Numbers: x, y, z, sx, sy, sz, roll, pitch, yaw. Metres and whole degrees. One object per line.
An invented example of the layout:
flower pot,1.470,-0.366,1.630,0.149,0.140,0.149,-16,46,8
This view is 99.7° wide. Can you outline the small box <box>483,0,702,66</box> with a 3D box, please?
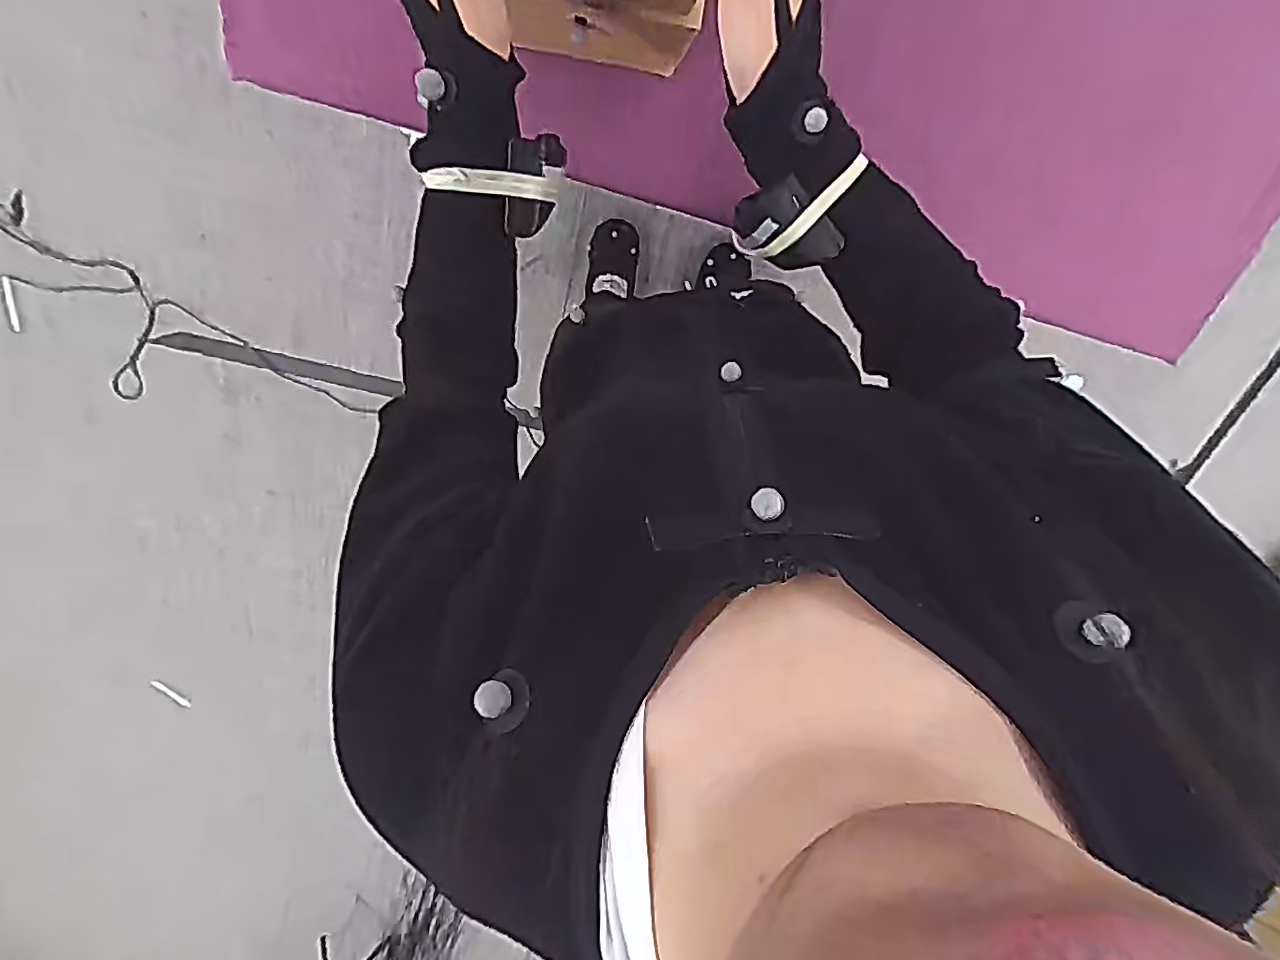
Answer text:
small box,-0.035,-0.471,0.449,0.179,0.176,0.168,6,117,-7
